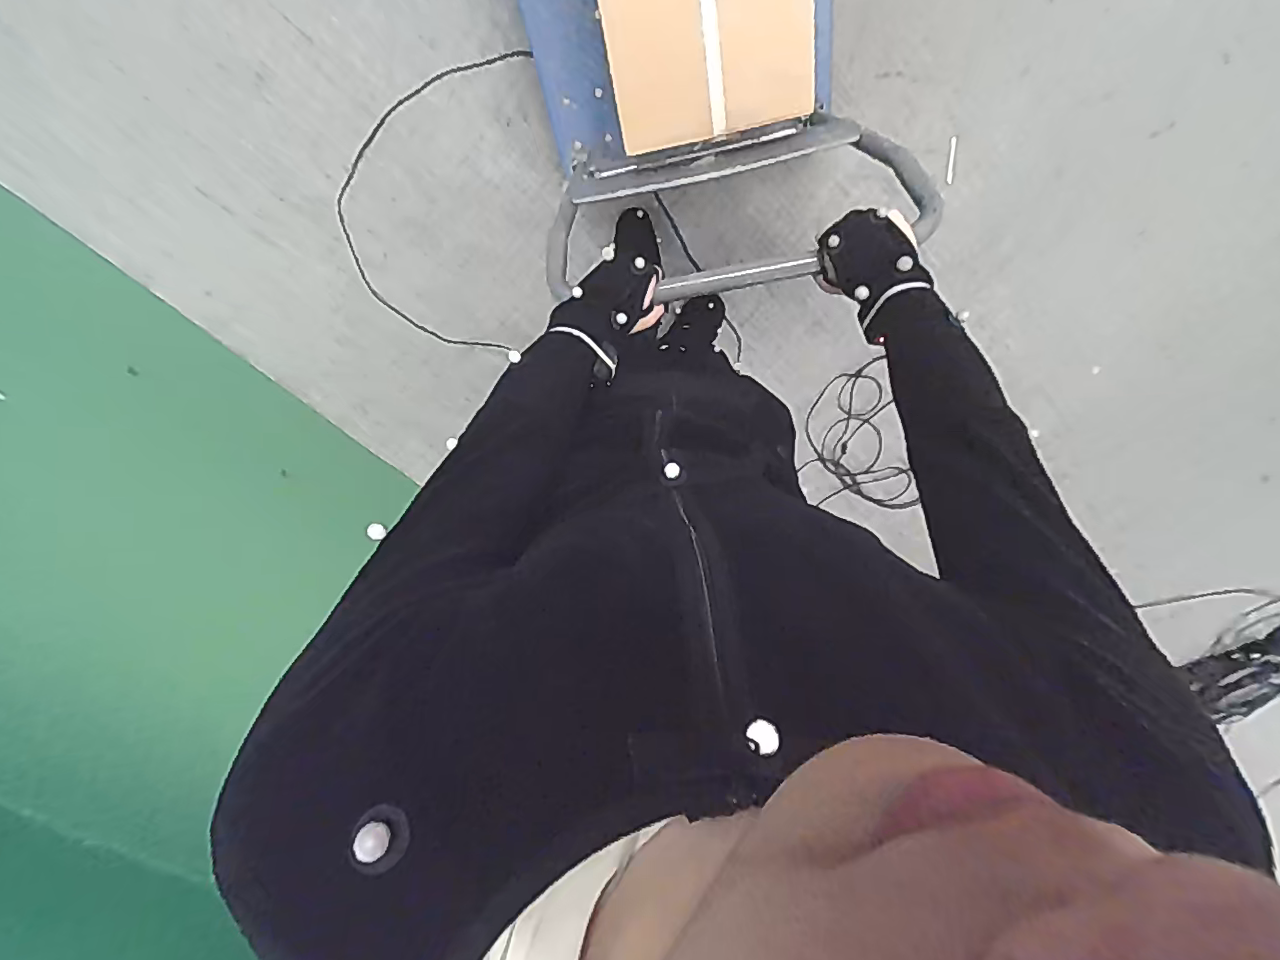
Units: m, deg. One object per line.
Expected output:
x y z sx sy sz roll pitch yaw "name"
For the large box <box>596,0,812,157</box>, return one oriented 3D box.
0.090 -0.810 0.901 0.320 0.320 0.408 -9 125 6 "large box"
